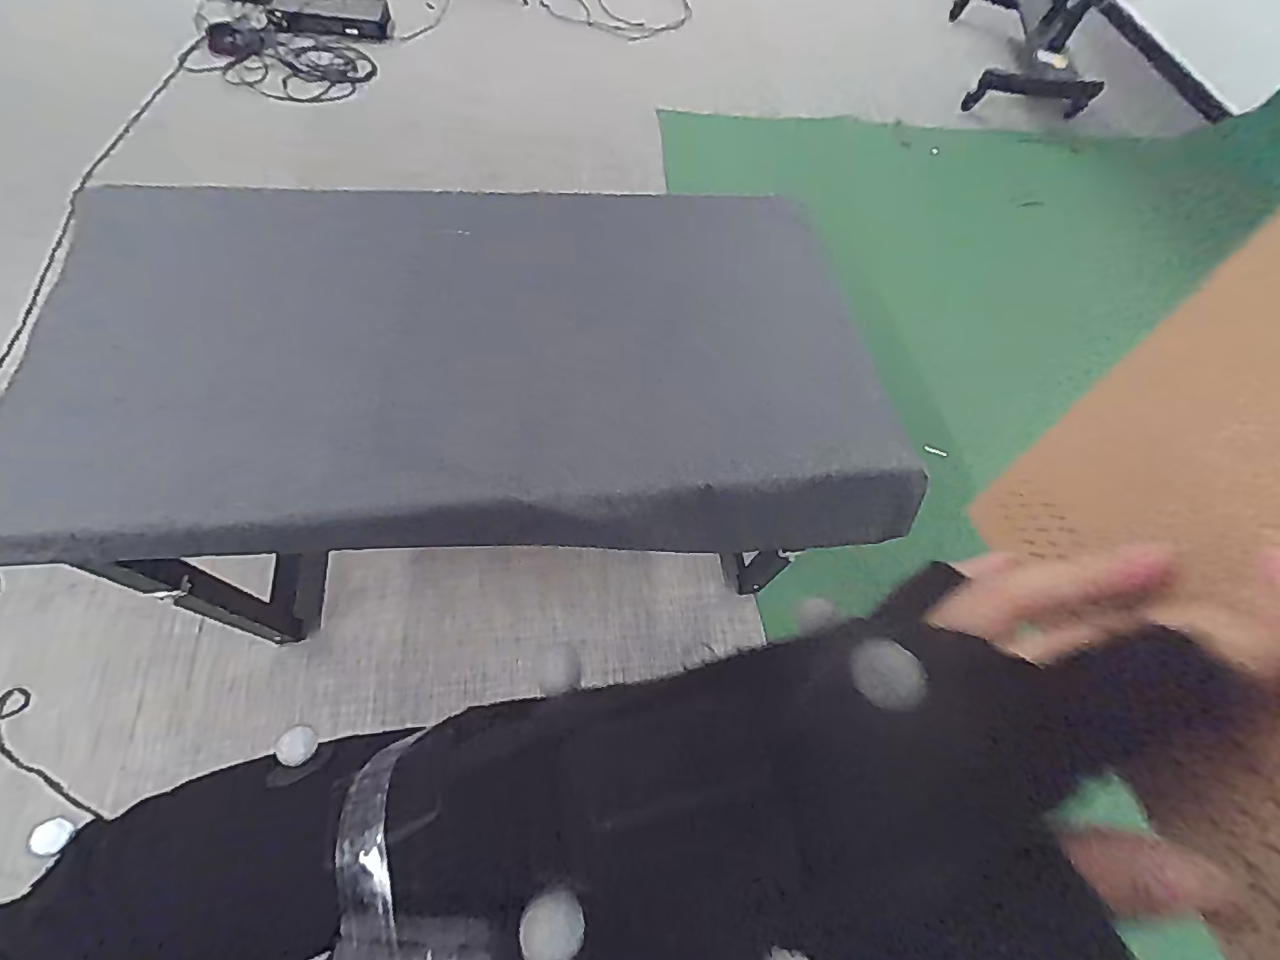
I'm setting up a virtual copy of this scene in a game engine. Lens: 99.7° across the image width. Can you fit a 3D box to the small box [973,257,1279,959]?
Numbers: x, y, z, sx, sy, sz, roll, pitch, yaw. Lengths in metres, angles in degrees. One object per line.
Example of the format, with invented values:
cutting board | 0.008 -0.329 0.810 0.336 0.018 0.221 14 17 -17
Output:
small box | 0.227 0.049 0.121 0.168 0.176 0.179 21 37 -10
